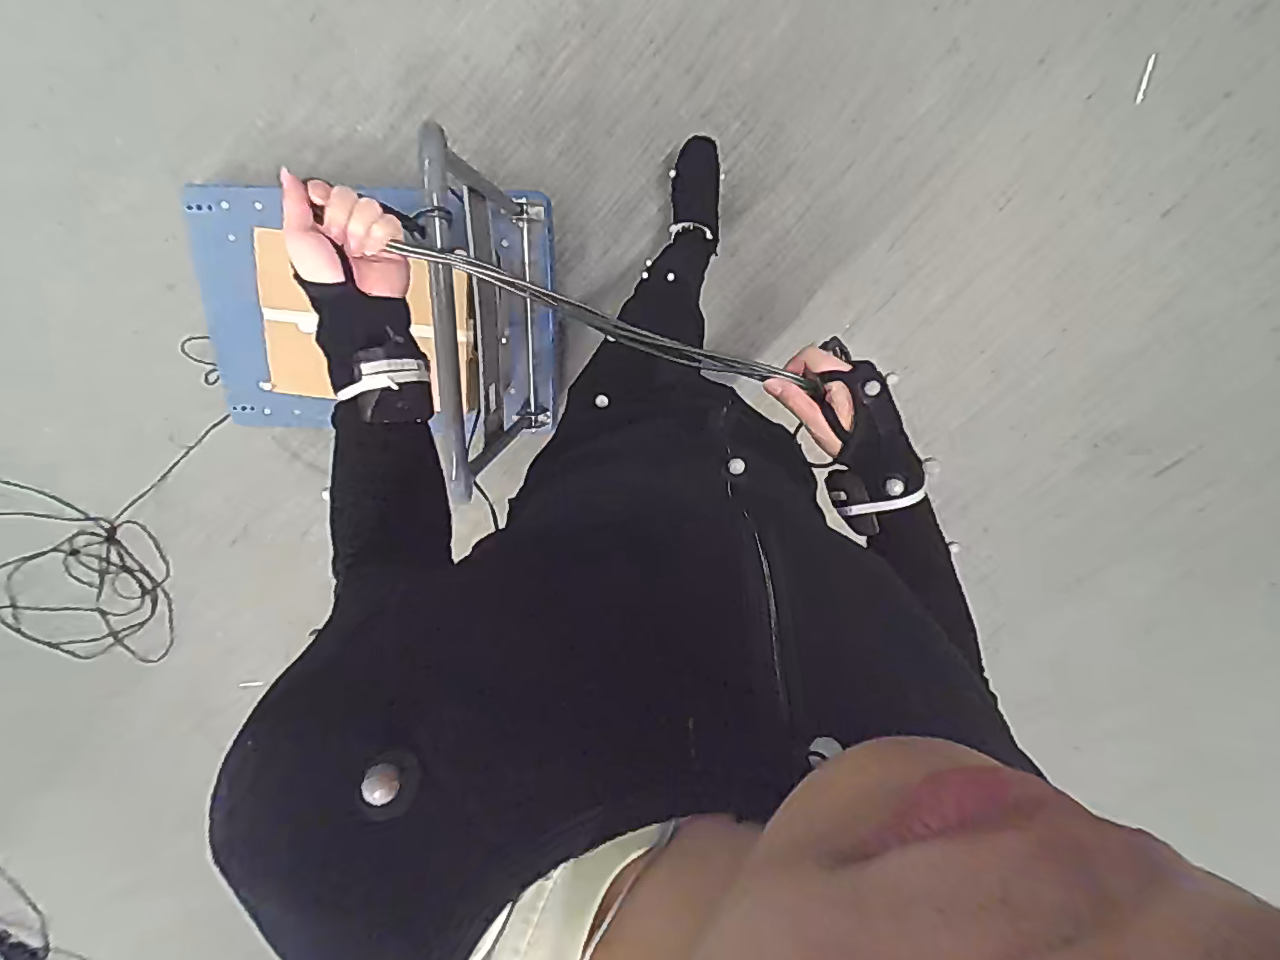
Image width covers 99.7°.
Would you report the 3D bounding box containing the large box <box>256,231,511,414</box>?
[{"bbox_3d":[-0.517,-0.344,1.181,0.408,0.320,0.320,7,109,0],"label":"large box"}]
